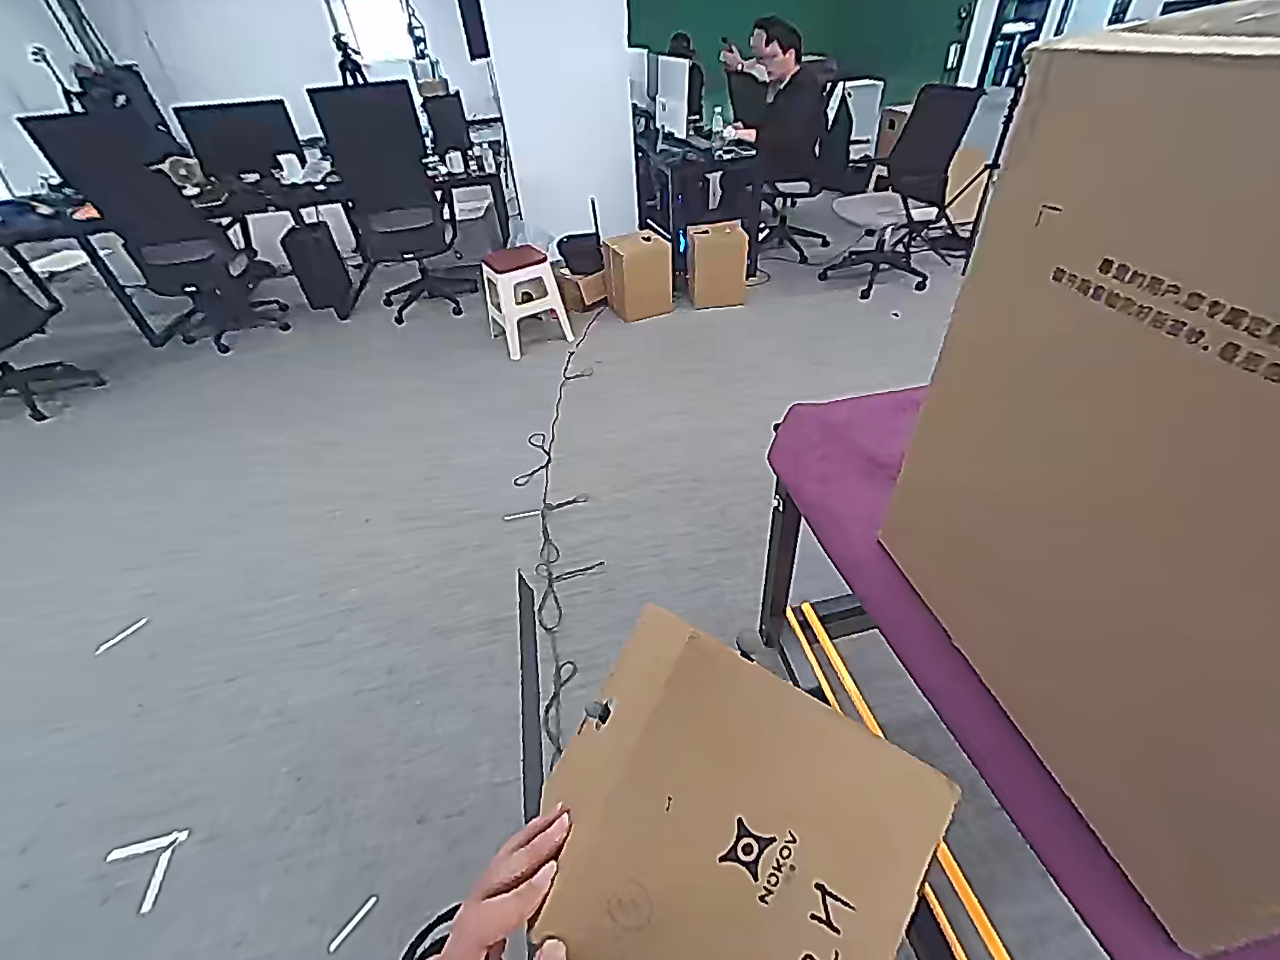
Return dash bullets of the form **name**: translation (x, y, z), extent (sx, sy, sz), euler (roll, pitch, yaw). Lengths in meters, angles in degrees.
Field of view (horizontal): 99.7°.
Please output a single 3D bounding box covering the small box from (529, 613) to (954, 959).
- **small box**: translation (0.049, 0.201, 0.356), extent (0.179, 0.176, 0.168), euler (31, 80, -3)
